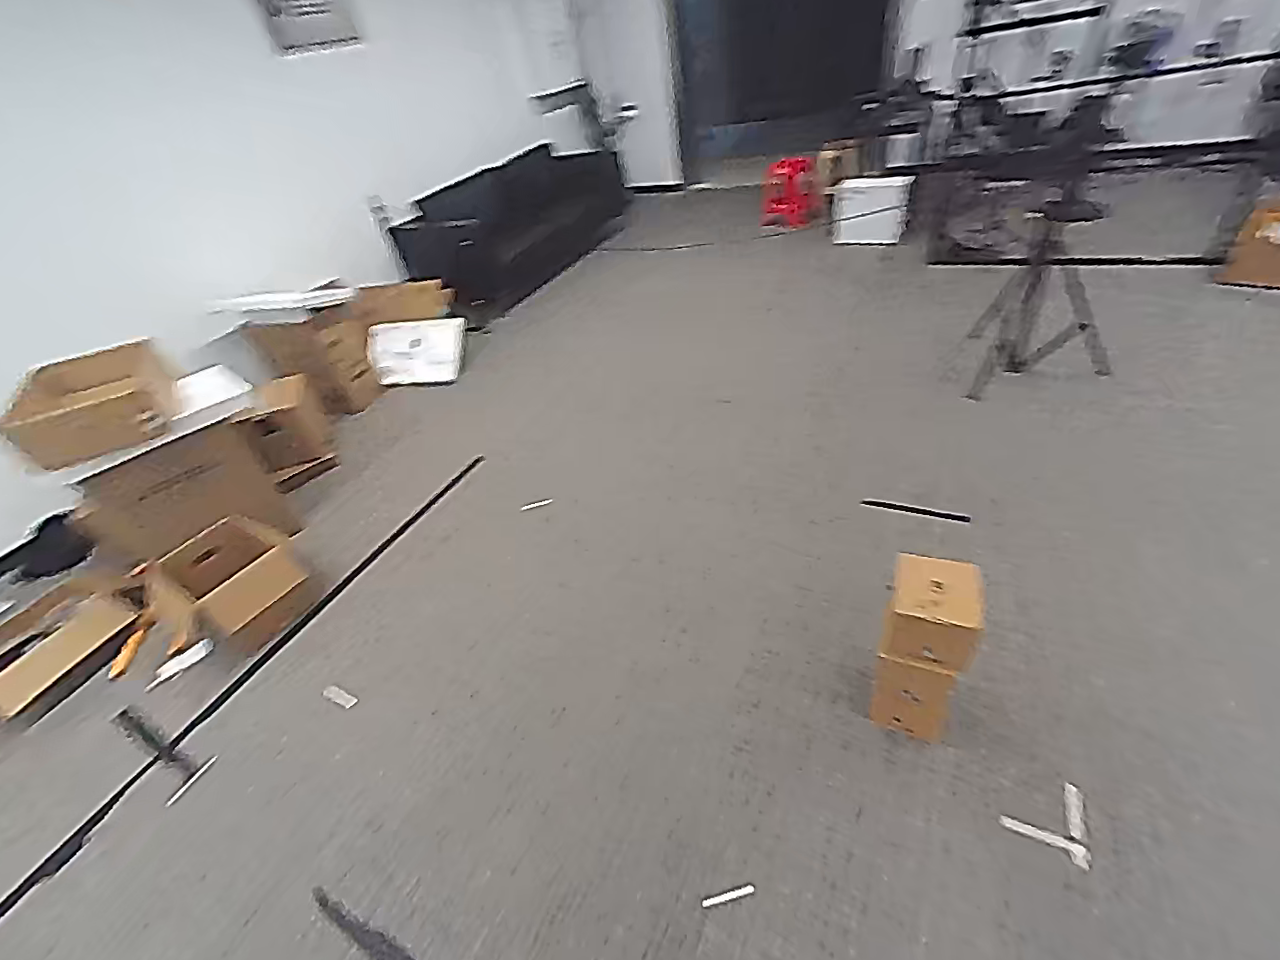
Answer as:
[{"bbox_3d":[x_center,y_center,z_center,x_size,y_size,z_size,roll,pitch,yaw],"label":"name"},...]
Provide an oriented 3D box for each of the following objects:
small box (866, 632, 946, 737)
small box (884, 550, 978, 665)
[{"bbox_3d":[0.706,0.543,1.439,0.168,0.176,0.179,10,44,25],"label":"small box"},{"bbox_3d":[0.657,0.289,1.235,0.168,0.176,0.179,6,44,23],"label":"small box"}]
